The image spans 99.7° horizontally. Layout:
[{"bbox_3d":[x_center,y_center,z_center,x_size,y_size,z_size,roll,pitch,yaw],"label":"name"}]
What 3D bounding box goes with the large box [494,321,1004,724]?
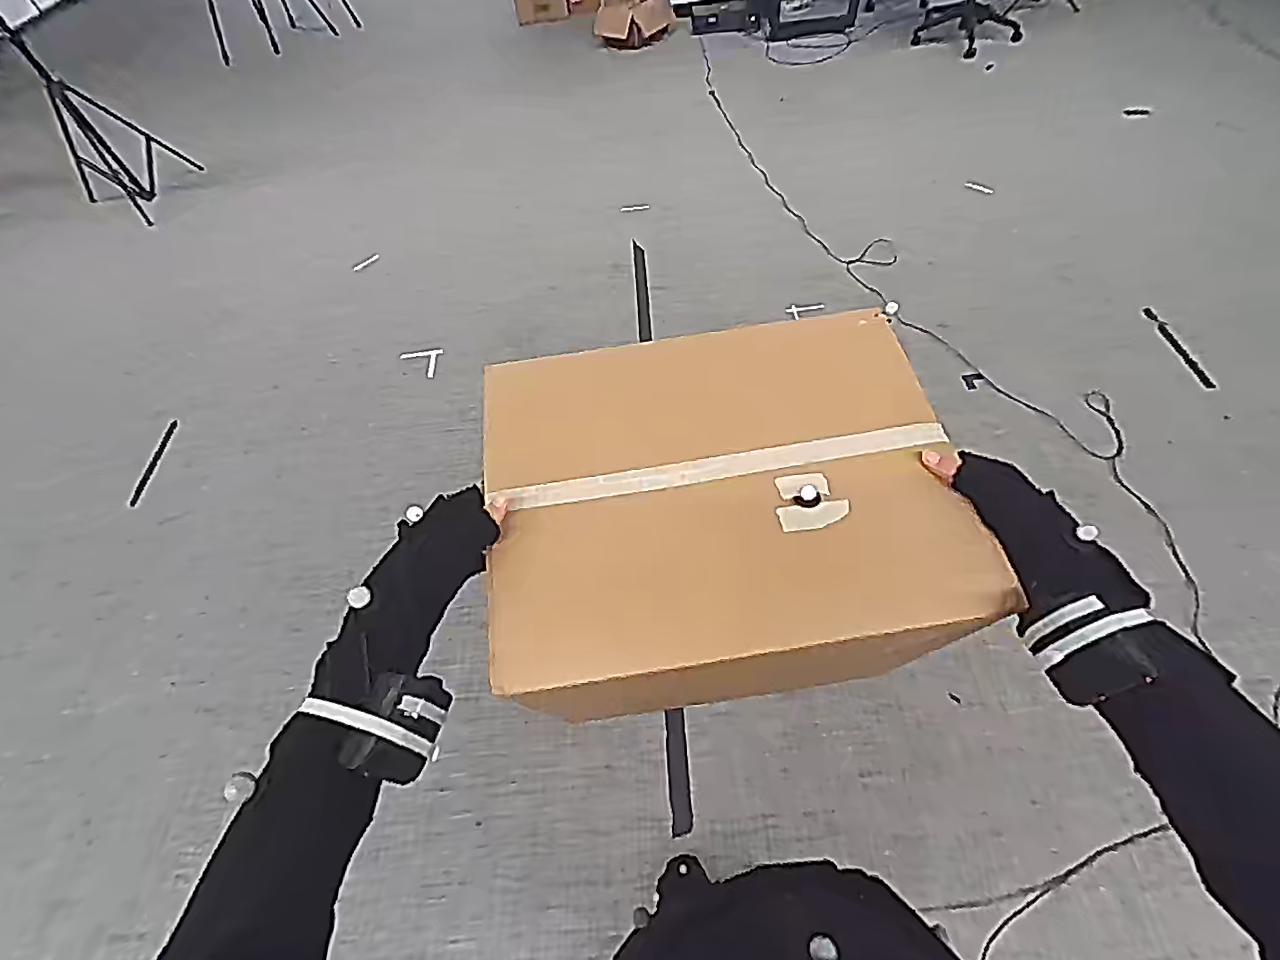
[{"bbox_3d":[0.075,0.068,0.616,0.408,0.320,0.320,-9,62,-1],"label":"large box"}]
